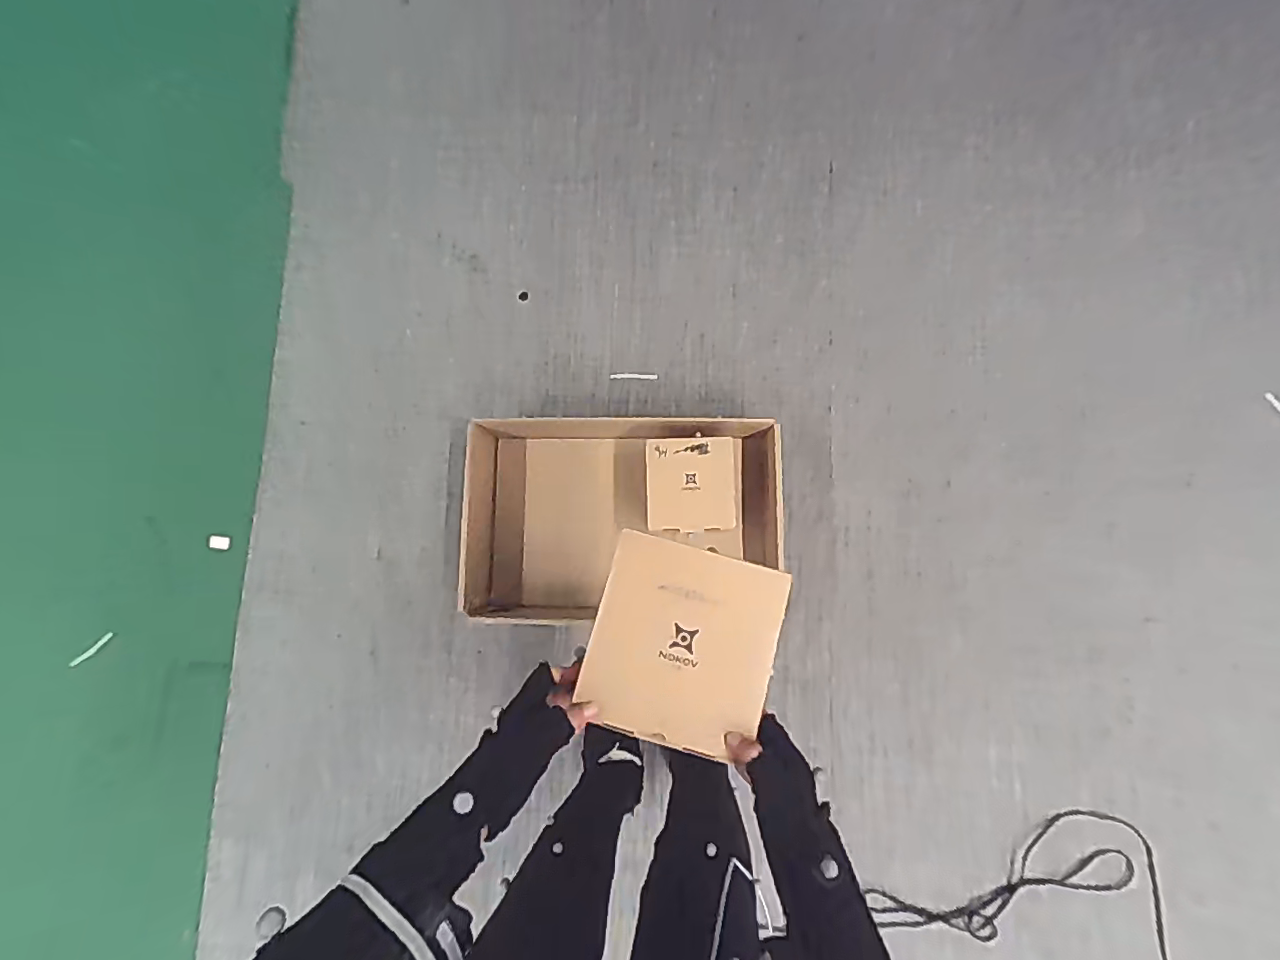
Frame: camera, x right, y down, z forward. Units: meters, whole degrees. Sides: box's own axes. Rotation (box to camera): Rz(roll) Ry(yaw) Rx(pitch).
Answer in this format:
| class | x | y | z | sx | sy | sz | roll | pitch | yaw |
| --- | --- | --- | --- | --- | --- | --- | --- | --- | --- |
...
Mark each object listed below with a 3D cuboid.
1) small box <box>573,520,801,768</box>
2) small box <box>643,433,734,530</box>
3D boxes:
| class | x | y | z | sx | sy | sz | roll | pitch | yaw |
| --- | --- | --- | --- | --- | --- | --- | --- | --- | --- |
| small box | 0.045 | 0.155 | 0.551 | 0.168 | 0.176 | 0.179 | 15 | 79 | 3 |
| small box | 0.098 | 0.011 | 1.083 | 0.168 | 0.176 | 0.179 | -4 | 83 | 5 |
